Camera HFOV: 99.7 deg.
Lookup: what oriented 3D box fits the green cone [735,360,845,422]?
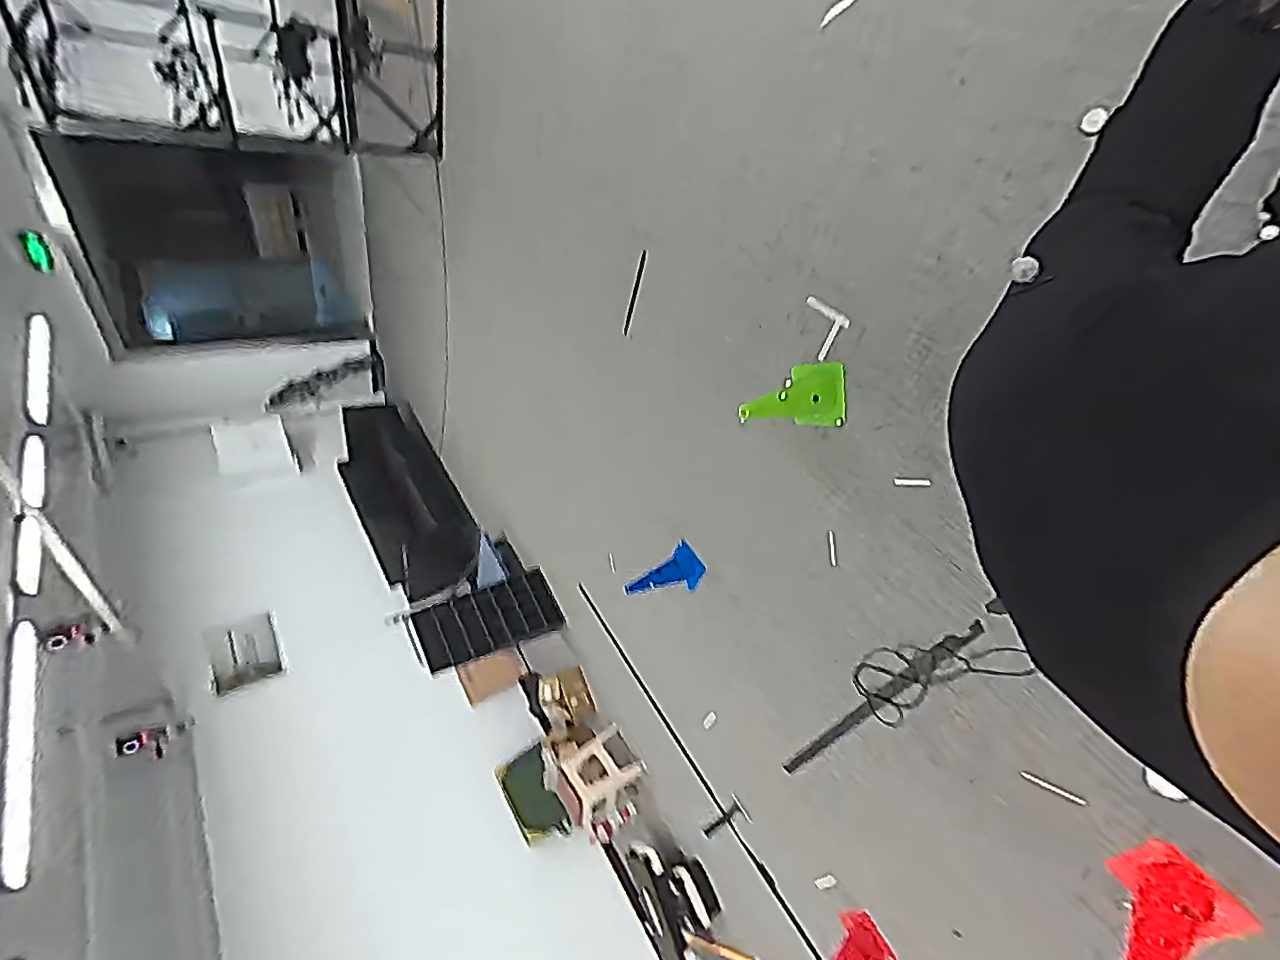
[{"bbox_3d":[0.444,-0.254,1.685,0.202,0.368,0.200,11,112,55],"label":"green cone"}]

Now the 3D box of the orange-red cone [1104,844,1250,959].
[{"bbox_3d":[1.139,1.028,1.199,0.198,0.360,0.199,49,138,32],"label":"orange-red cone"}]

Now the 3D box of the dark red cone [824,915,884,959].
[{"bbox_3d":[0.753,1.897,2.086,0.201,0.394,0.202,57,143,27],"label":"dark red cone"}]

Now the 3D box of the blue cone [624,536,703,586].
[{"bbox_3d":[0.092,0.426,2.519,0.192,0.380,0.193,55,142,29],"label":"blue cone"}]
